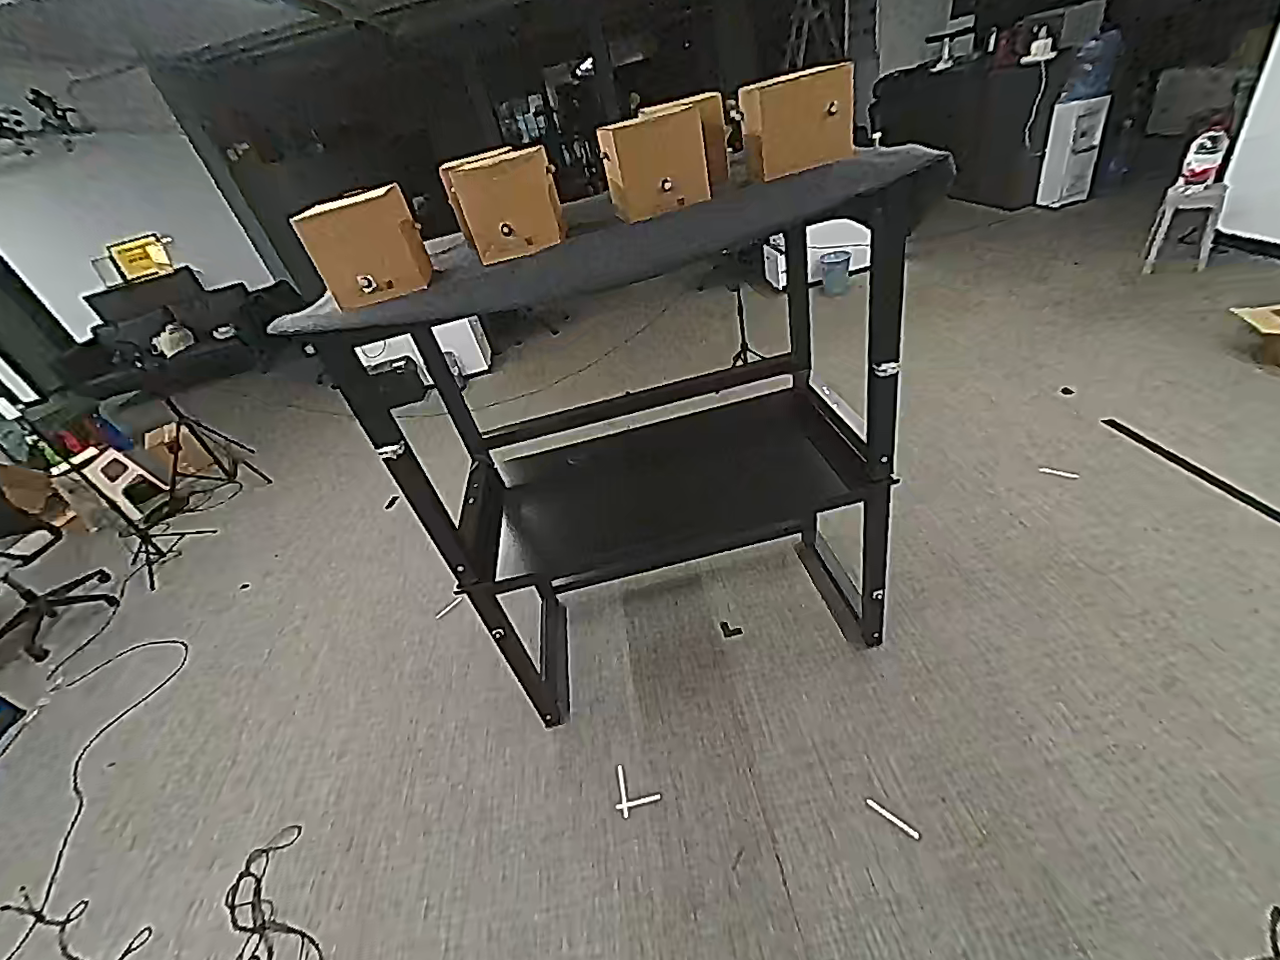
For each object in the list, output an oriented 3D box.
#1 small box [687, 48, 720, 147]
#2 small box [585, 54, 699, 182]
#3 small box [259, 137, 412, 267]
[{"bbox_3d":[0.078,-0.854,1.232,0.168,0.176,0.179,-14,36,1],"label":"small box"},{"bbox_3d":[0.003,-0.686,1.035,0.168,0.176,0.179,-18,36,-4],"label":"small box"},{"bbox_3d":[-0.535,-0.504,0.982,0.168,0.176,0.179,-19,36,-4],"label":"small box"}]
